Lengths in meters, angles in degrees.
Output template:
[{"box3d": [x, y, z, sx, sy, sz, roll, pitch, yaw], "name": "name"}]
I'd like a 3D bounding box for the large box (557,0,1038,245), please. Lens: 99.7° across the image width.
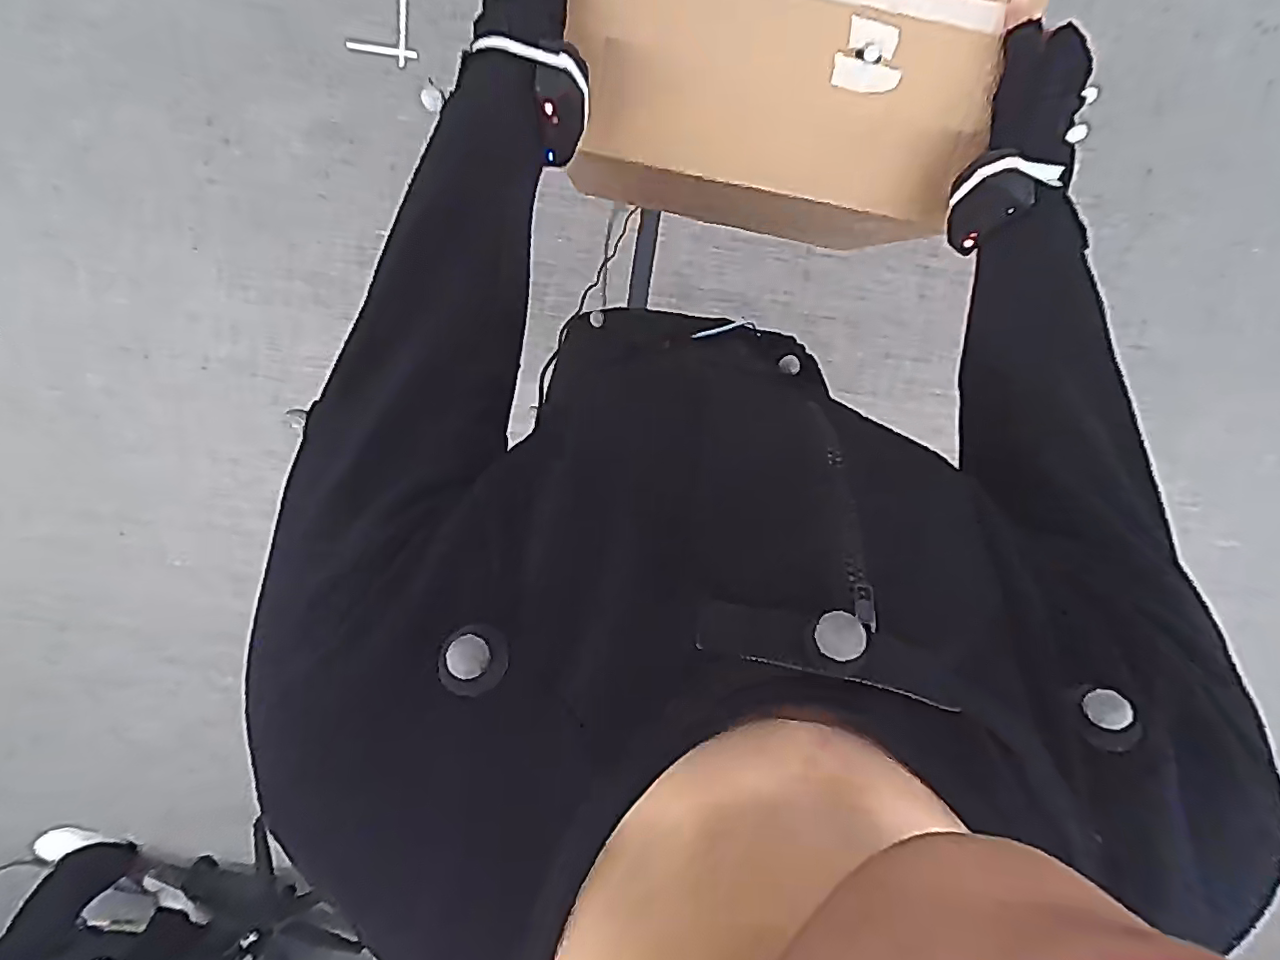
[{"box3d": [0.138, -0.469, 0.601, 0.408, 0.320, 0.320, 10, 111, -5], "name": "large box"}]
